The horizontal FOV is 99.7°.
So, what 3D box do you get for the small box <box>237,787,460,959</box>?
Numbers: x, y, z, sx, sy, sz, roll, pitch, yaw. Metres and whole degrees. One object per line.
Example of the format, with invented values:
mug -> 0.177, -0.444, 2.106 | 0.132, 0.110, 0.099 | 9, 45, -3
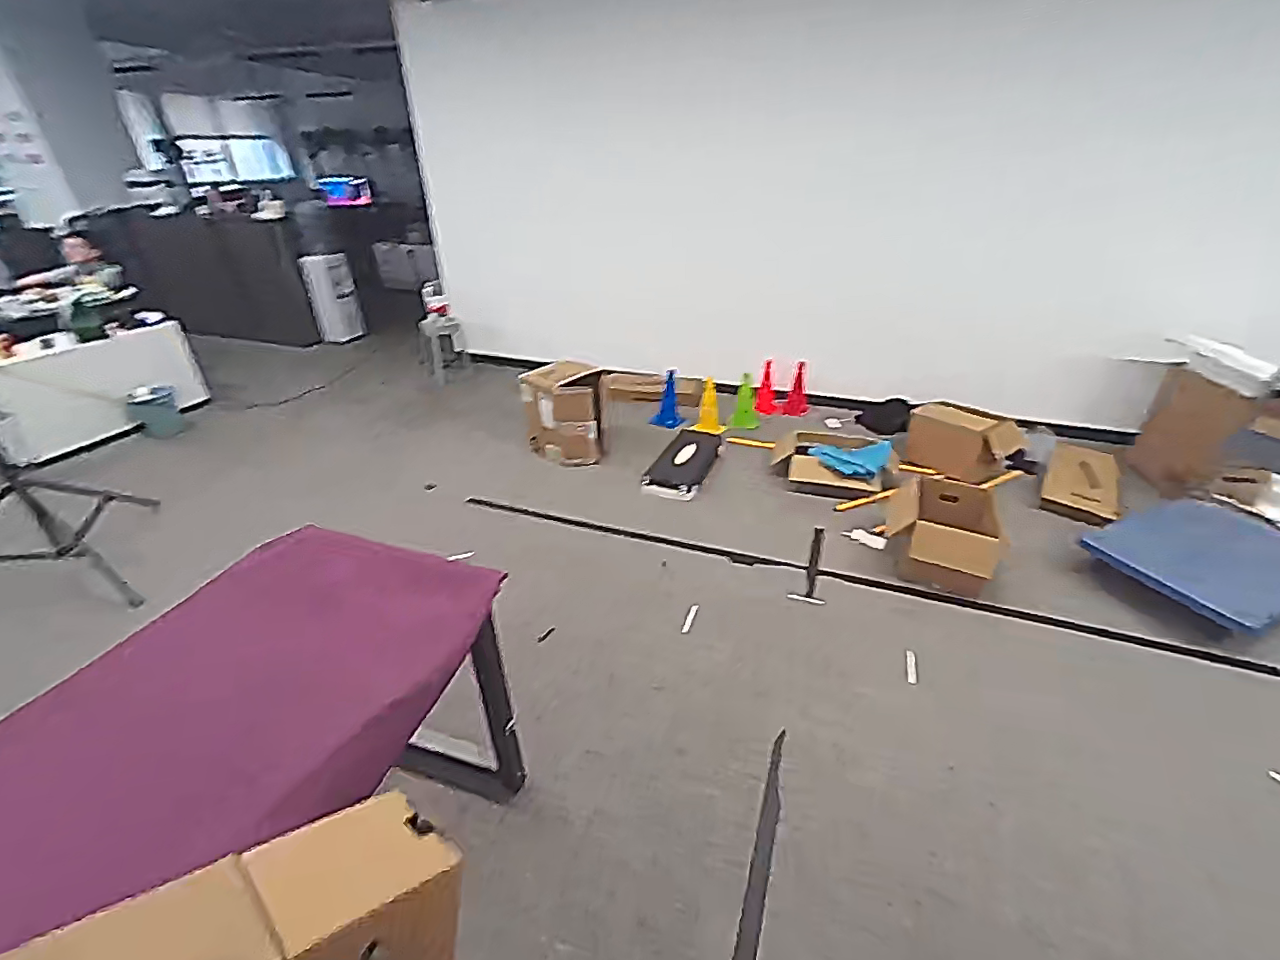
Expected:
small box -> -0.316, 0.488, 0.593 | 0.168, 0.176, 0.179 | 7, 5, 41
